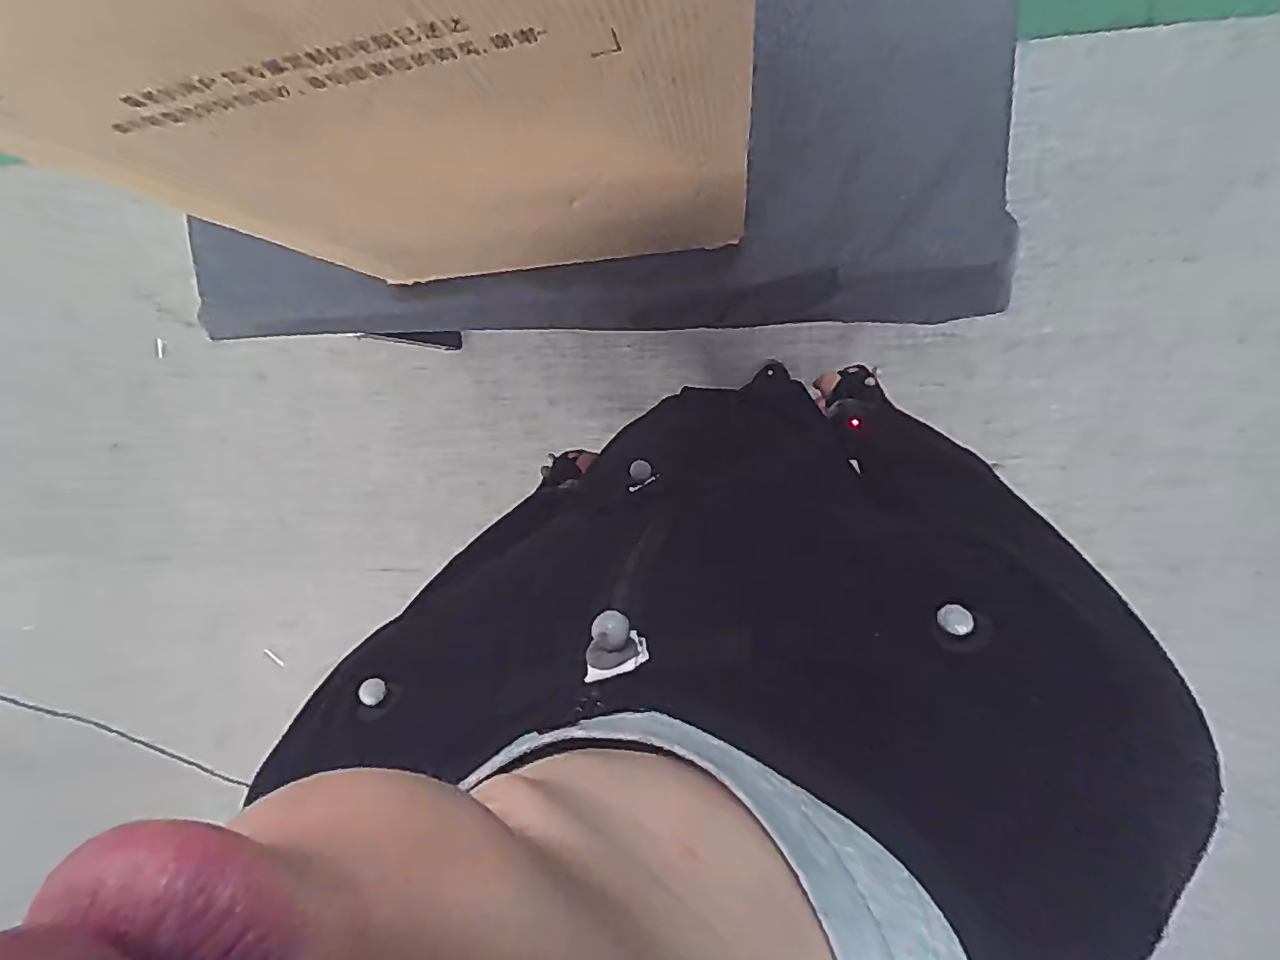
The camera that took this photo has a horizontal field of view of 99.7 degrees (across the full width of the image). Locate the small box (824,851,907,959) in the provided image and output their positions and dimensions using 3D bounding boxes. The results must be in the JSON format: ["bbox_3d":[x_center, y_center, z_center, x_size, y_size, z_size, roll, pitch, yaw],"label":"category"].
[{"bbox_3d":[0.649,1.230,1.577,0.179,0.176,0.168,9,100,10],"label":"small box"}]
